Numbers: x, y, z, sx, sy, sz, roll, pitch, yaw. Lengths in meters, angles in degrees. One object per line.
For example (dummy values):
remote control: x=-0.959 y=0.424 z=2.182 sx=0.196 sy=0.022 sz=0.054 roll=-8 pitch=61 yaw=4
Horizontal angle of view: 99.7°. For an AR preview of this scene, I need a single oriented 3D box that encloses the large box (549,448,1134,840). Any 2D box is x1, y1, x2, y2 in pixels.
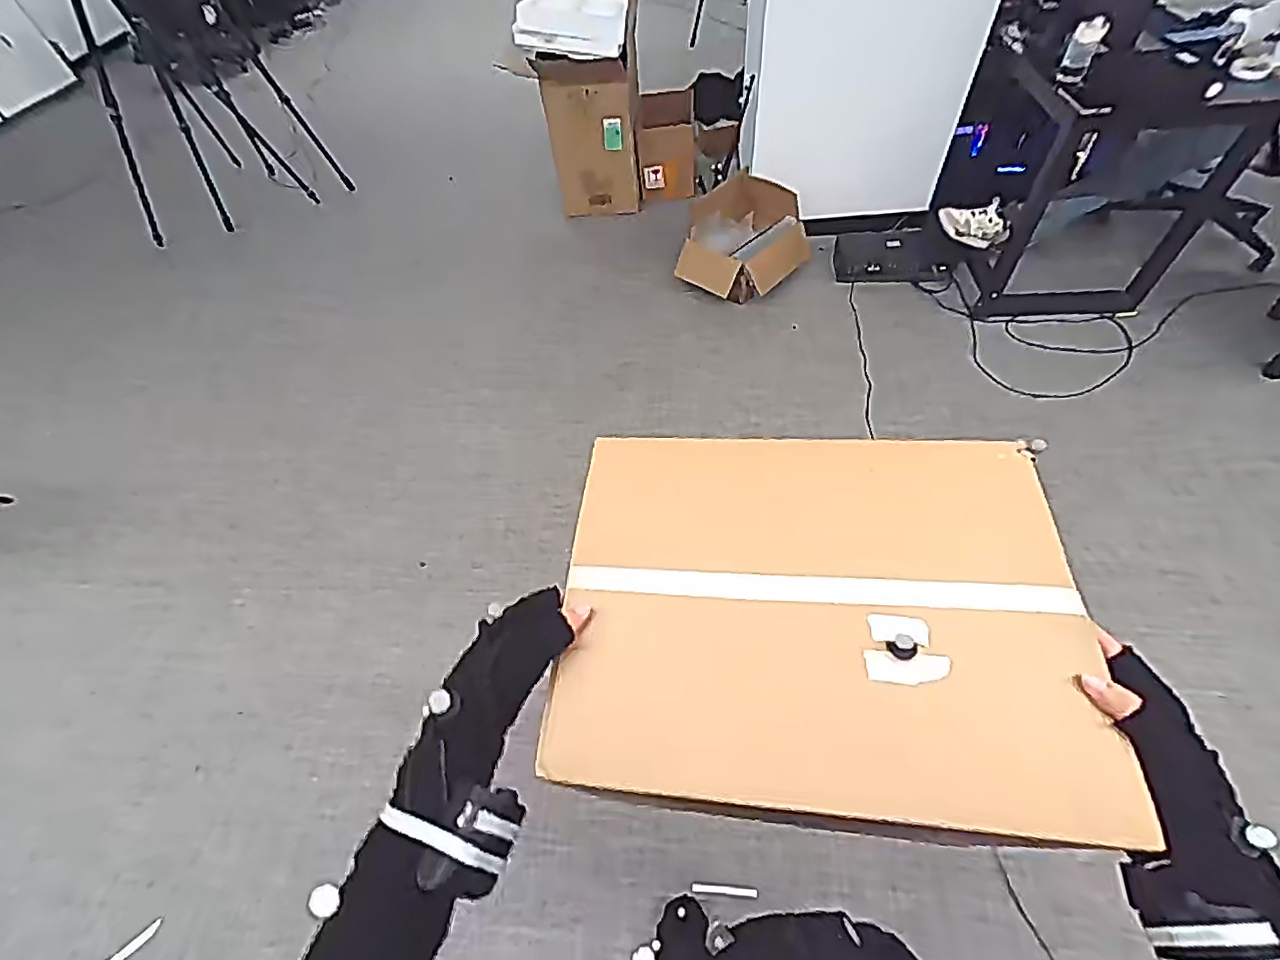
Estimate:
large box: x=0.156 y=0.179 z=0.581 sx=0.408 sy=0.320 sz=0.320 roll=1 pitch=56 yaw=10
